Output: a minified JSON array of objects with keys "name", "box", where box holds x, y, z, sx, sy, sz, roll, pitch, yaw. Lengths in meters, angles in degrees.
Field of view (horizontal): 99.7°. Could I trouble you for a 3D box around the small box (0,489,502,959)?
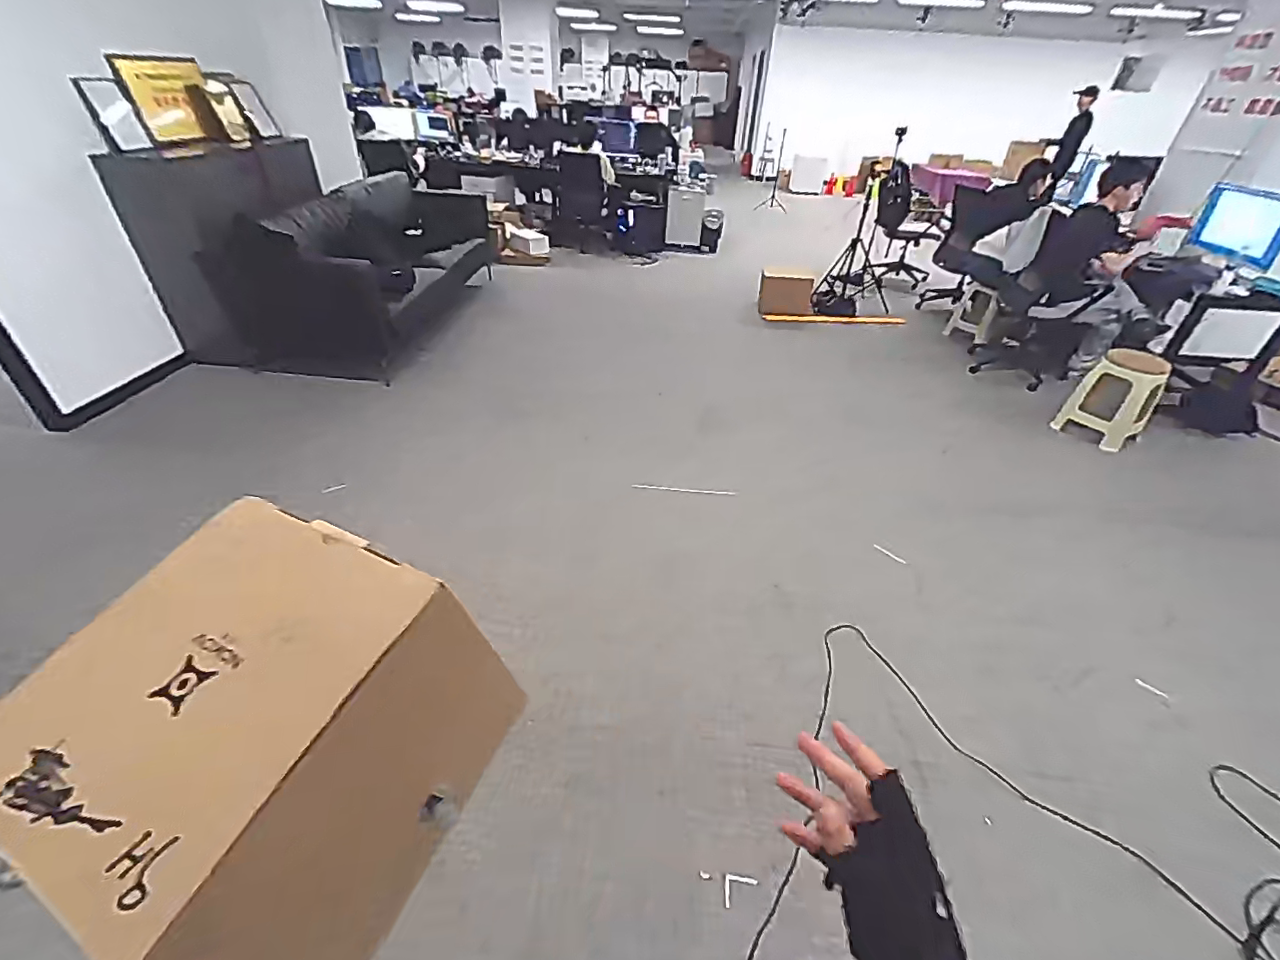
[{"name":"small box","box":[-0.203,0.140,0.321,0.168,0.176,0.179,17,53,21]}]
